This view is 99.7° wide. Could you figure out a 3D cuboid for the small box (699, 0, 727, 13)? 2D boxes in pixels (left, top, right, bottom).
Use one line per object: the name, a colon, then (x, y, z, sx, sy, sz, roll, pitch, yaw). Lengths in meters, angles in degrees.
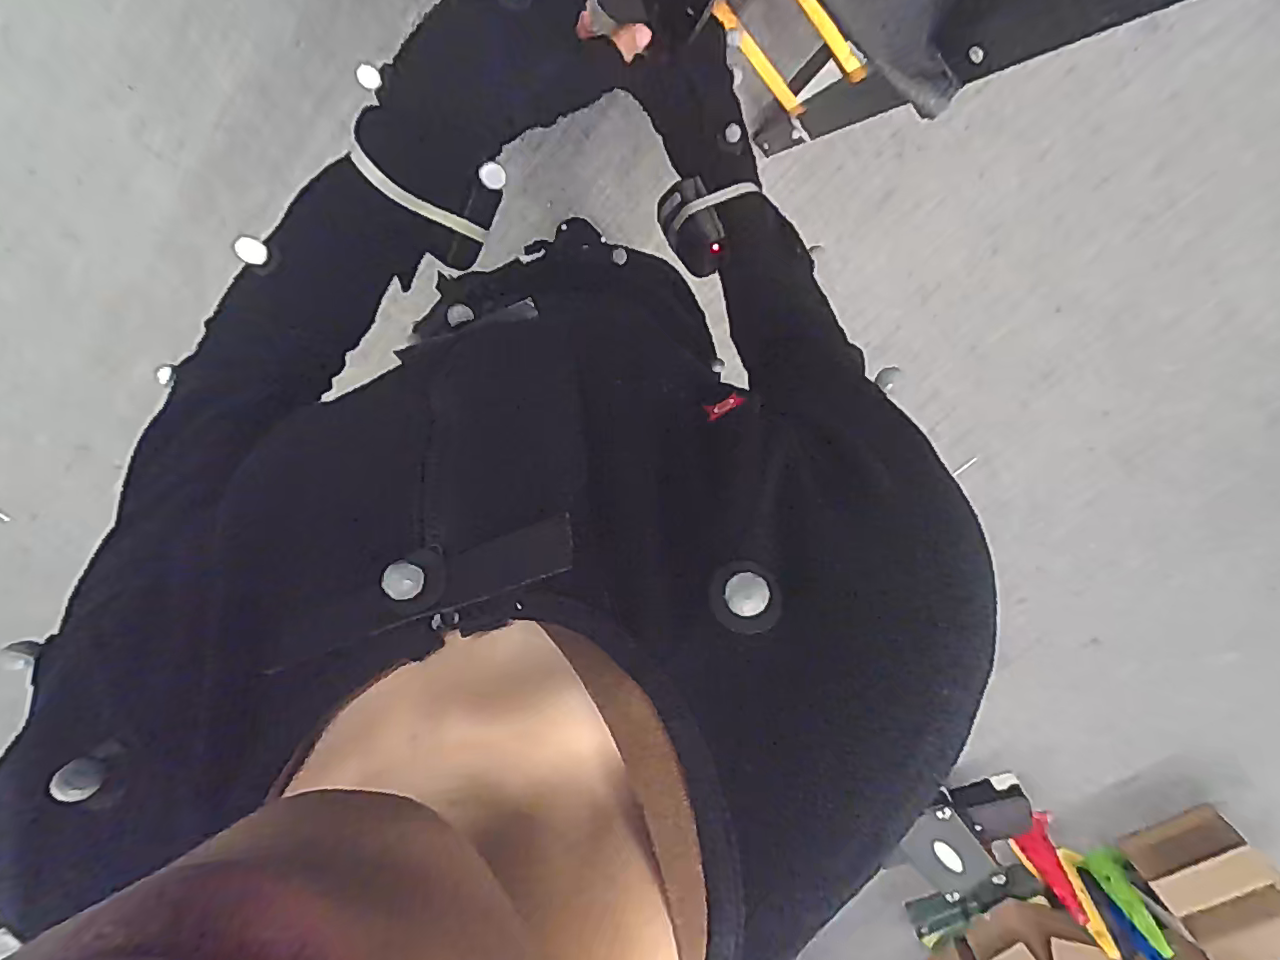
small box: (0.143, -0.941, 0.899, 0.179, 0.176, 0.168, -40, 111, 16)
